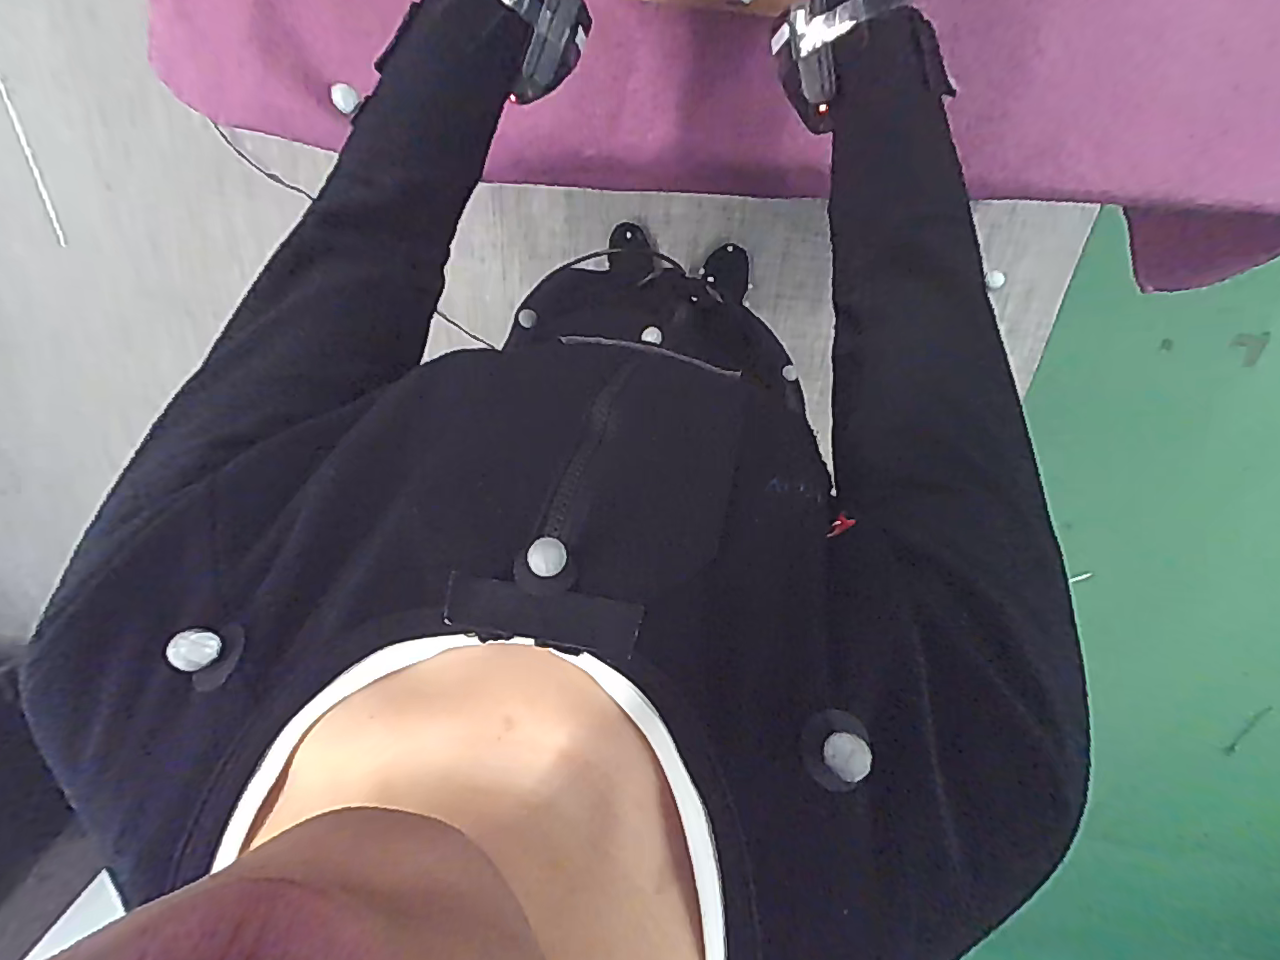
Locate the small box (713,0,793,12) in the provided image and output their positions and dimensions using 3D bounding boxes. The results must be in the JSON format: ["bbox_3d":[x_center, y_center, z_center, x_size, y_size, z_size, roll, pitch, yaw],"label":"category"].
[{"bbox_3d":[0.066,-0.491,0.406,0.168,0.176,0.179,9,117,1],"label":"small box"}]
